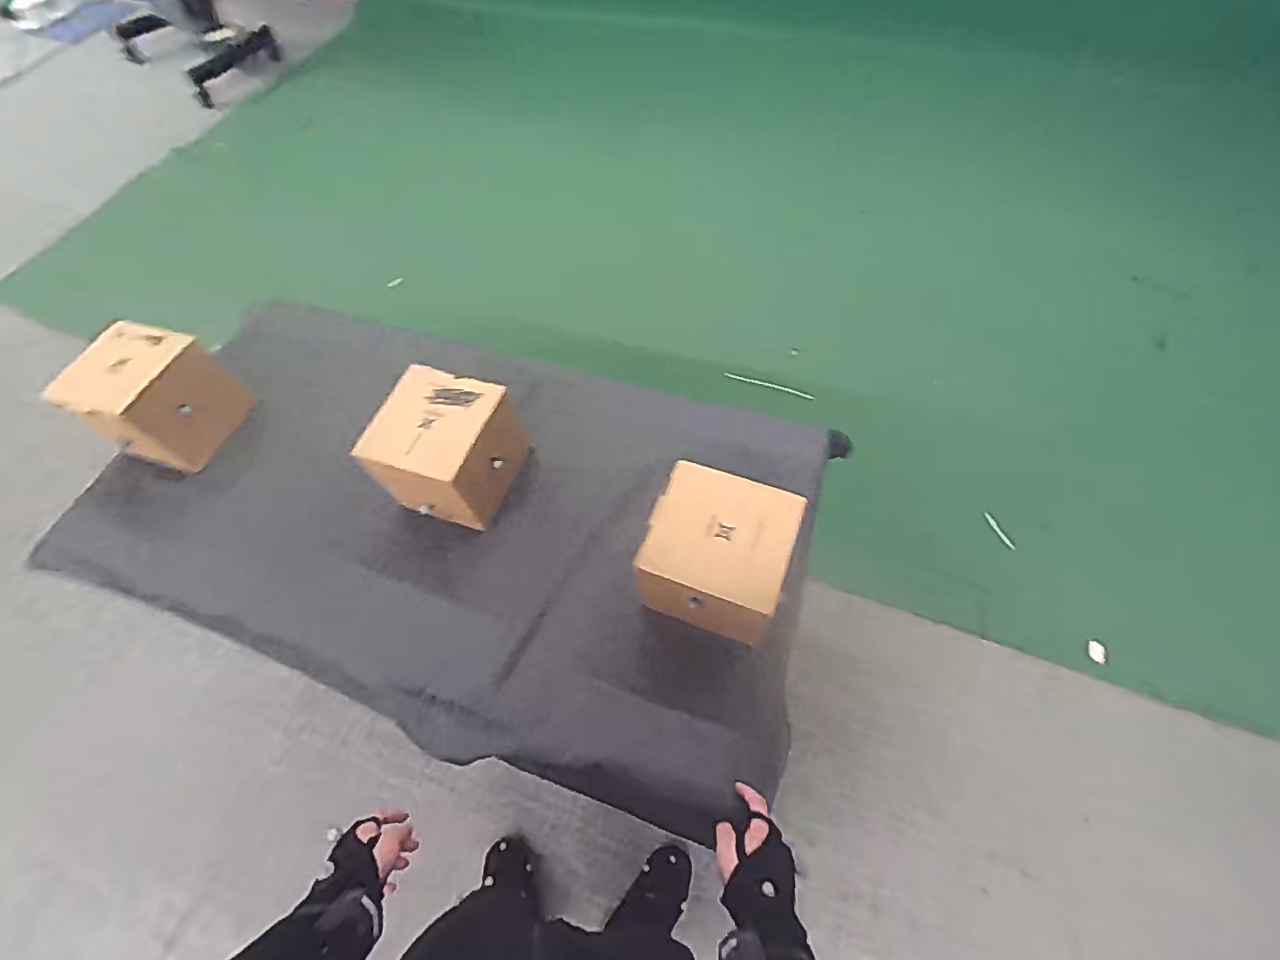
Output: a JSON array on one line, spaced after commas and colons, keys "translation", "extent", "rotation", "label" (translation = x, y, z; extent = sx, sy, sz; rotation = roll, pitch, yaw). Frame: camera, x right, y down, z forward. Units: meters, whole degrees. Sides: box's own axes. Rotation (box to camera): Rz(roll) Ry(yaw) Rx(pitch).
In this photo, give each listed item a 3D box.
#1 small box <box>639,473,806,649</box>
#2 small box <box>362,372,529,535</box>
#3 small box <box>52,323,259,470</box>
[{"translation": [0.111, 0.120, 0.758], "extent": [0.179, 0.176, 0.168], "rotation": [19, 64, 12], "label": "small box"}, {"translation": [-0.293, -0.038, 0.867], "extent": [0.168, 0.176, 0.179], "rotation": [17, 63, 12], "label": "small box"}, {"translation": [-0.829, -0.142, 0.951], "extent": [0.168, 0.176, 0.179], "rotation": [15, 62, 10], "label": "small box"}]
